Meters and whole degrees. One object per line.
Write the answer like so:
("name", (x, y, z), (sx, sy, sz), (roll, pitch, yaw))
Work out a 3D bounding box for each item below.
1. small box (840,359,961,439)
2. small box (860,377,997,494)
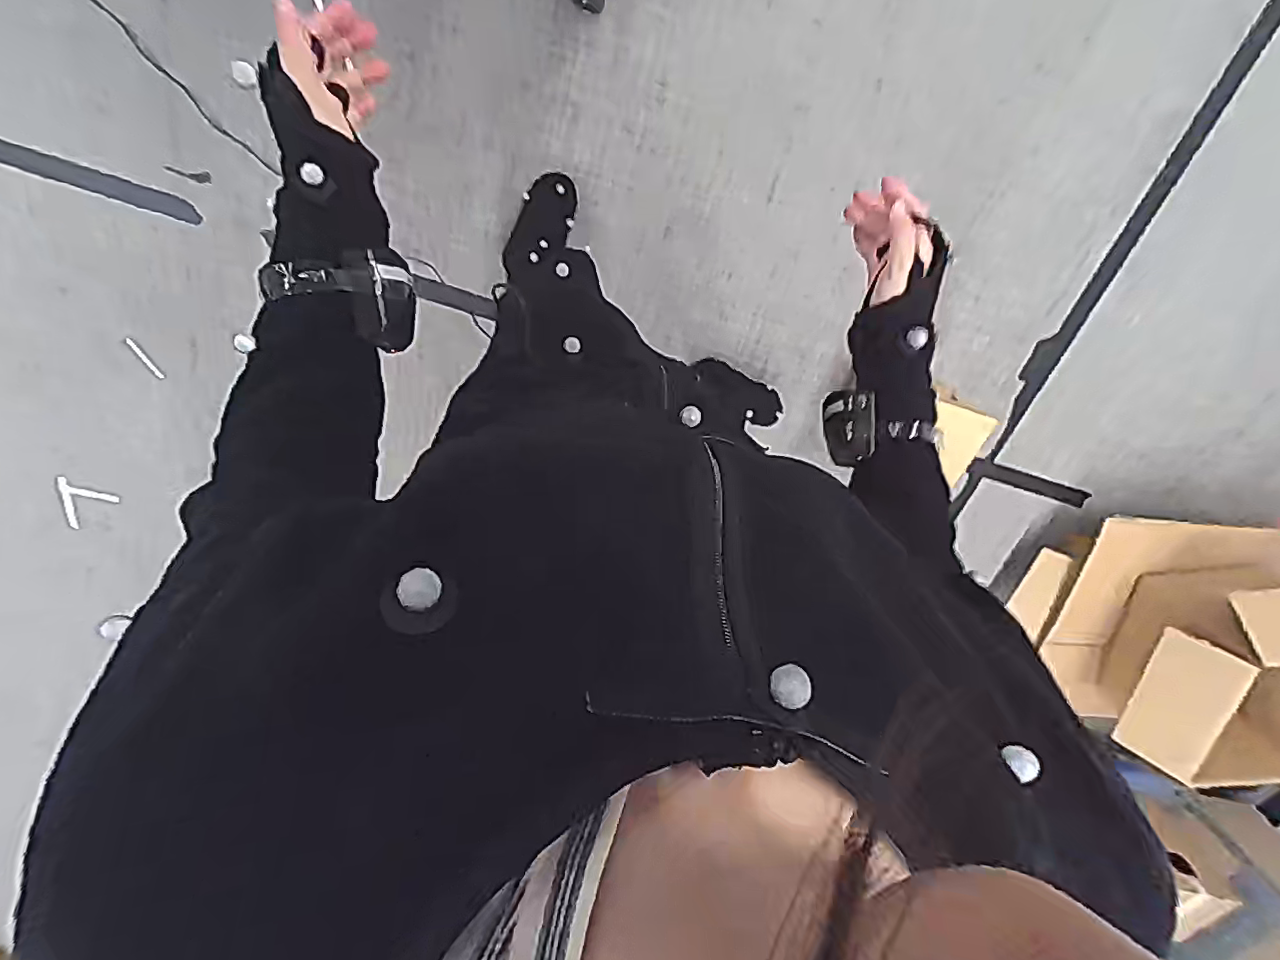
("small box", (0.614, -0.179, 1.305), (0.179, 0.176, 0.168), (14, 118, -8))
("small box", (0.604, -0.102, 1.163), (0.168, 0.176, 0.179), (16, 118, -8))
